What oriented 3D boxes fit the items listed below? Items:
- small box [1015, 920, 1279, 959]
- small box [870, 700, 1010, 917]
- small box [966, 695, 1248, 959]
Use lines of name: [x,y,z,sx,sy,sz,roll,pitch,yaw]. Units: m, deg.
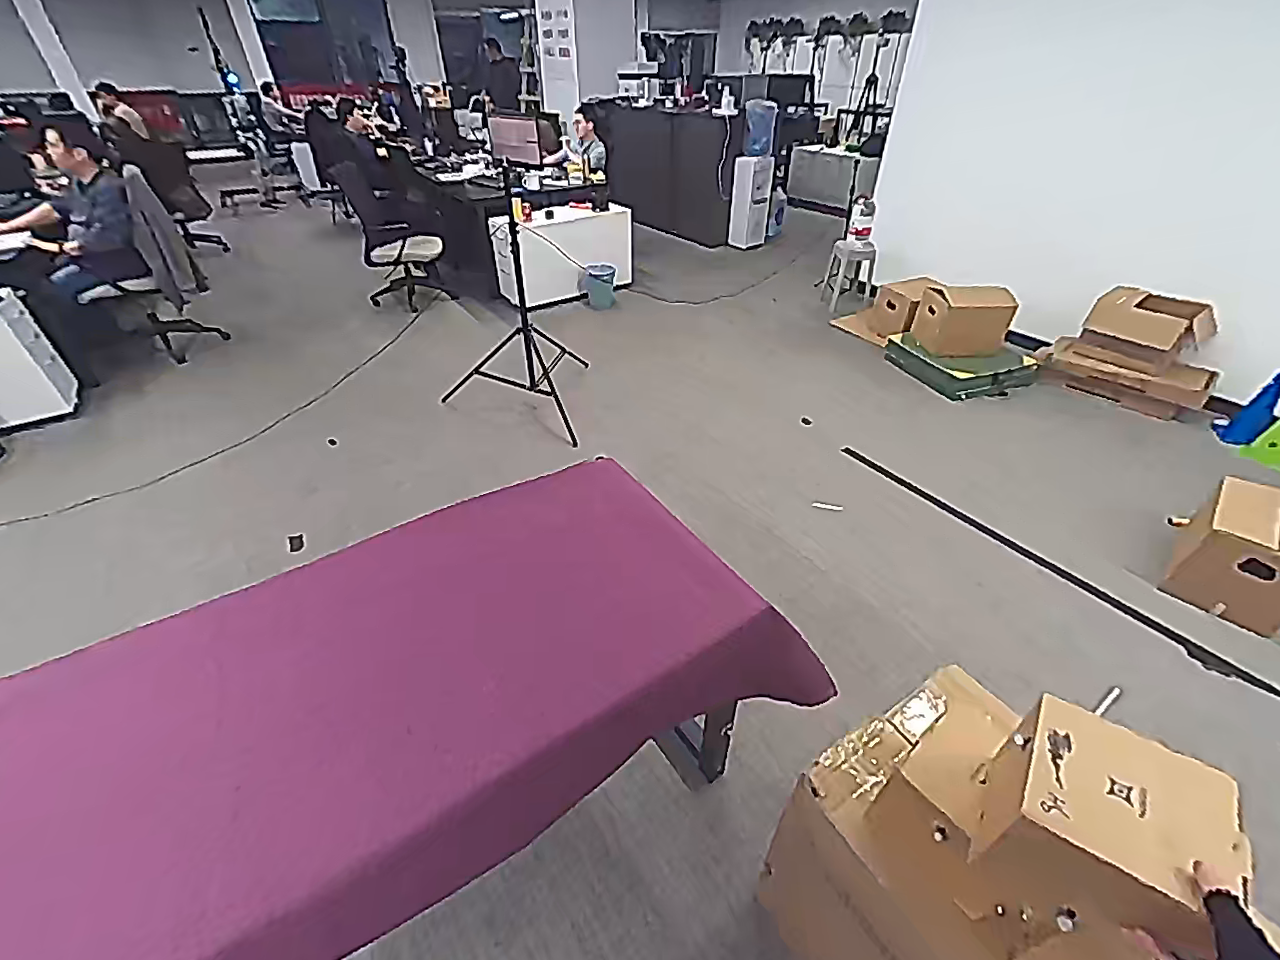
small box: [0.583,0.575,0.618,0.168,0.176,0.179,-22,40,-25]
small box: [0.460,0.463,0.768,0.168,0.176,0.179,-27,46,-28]
small box: [0.499,0.387,0.599,0.179,0.176,0.168,24,45,29]
